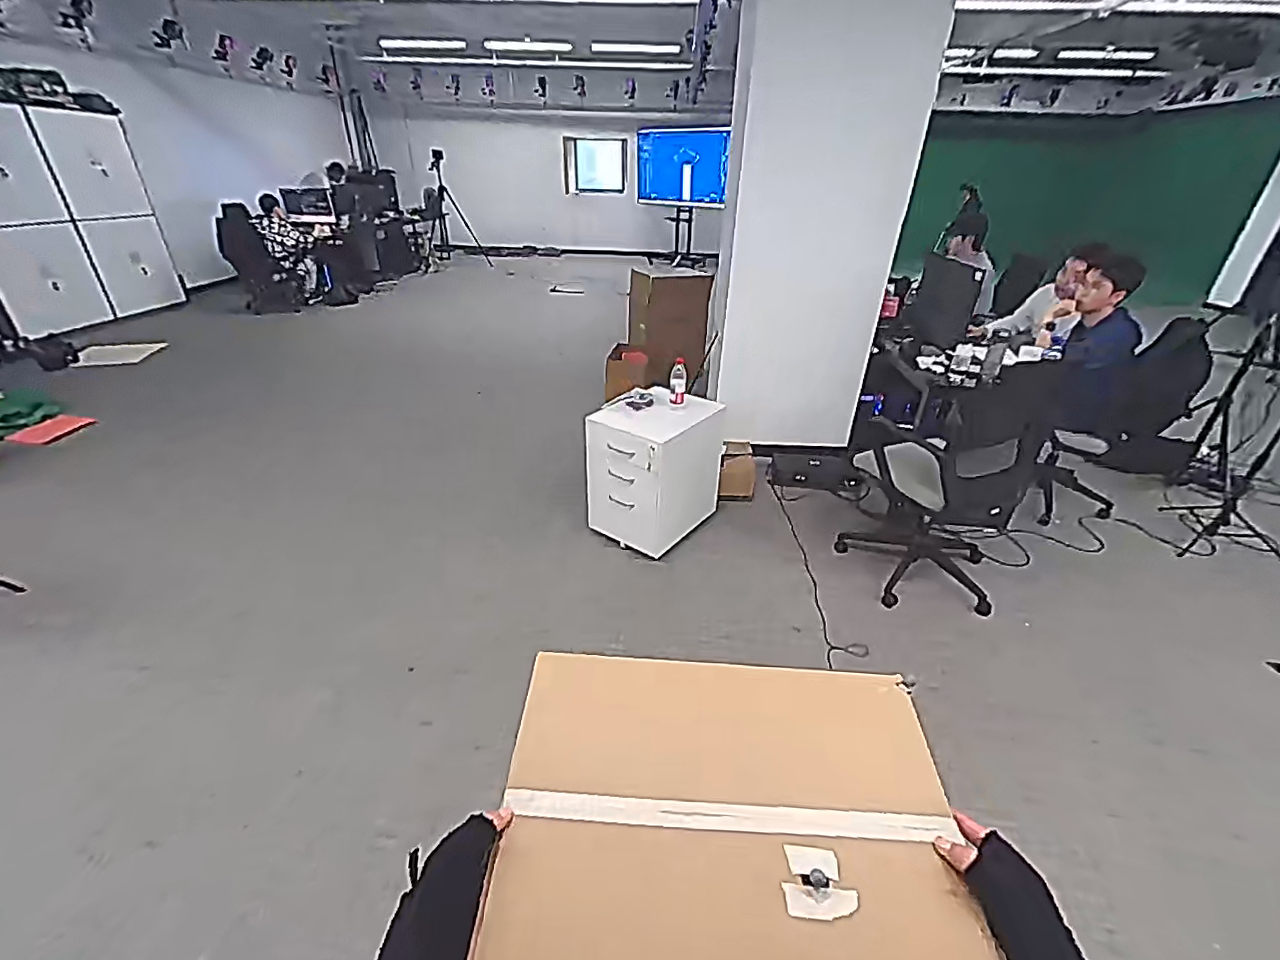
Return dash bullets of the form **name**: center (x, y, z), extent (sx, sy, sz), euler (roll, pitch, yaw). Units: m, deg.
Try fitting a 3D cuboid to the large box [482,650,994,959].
- **large box**: center (0.075, 0.417, 0.591), extent (0.408, 0.320, 0.320), euler (4, 39, 1)
